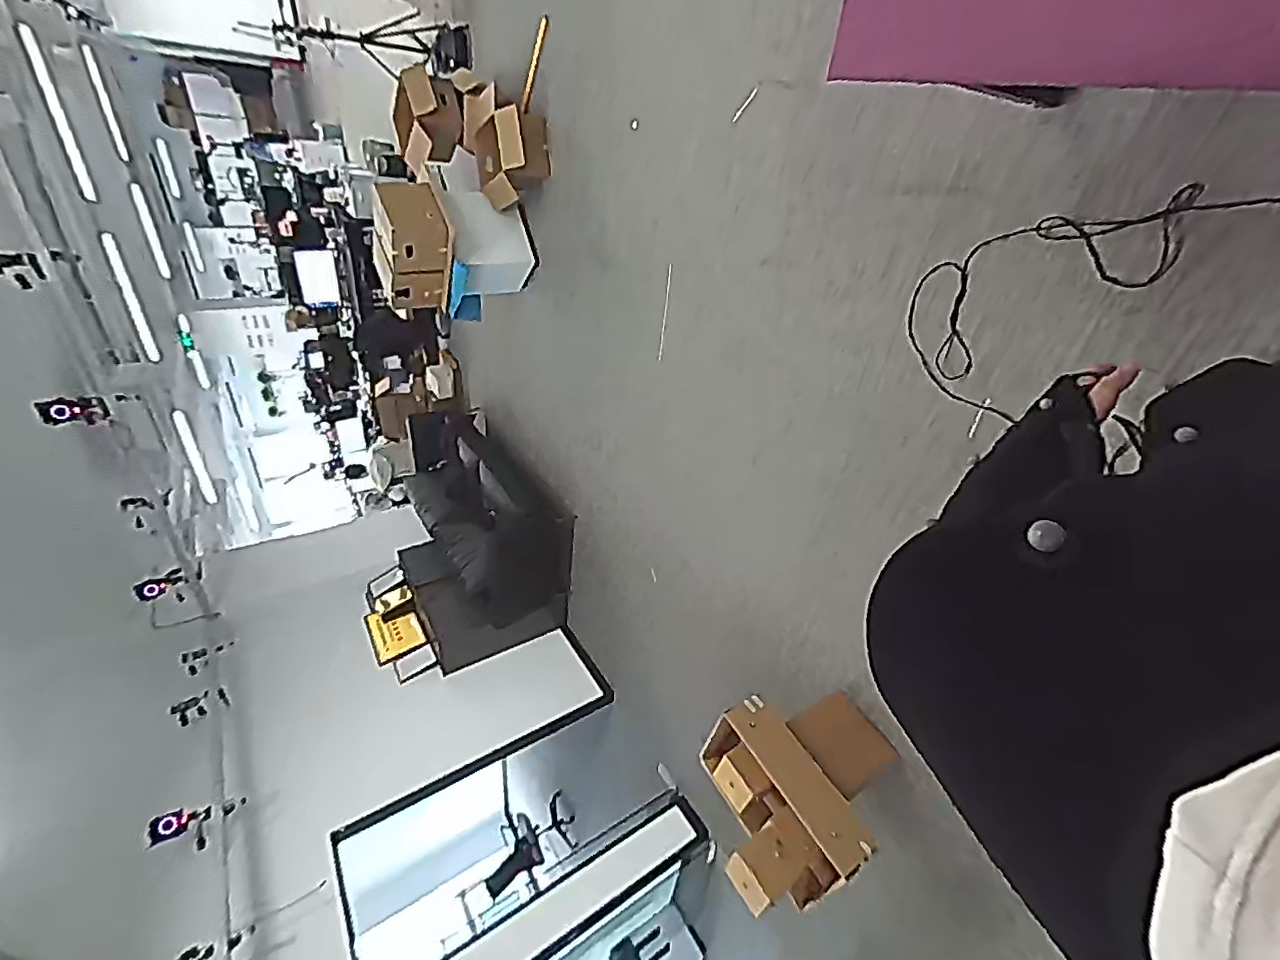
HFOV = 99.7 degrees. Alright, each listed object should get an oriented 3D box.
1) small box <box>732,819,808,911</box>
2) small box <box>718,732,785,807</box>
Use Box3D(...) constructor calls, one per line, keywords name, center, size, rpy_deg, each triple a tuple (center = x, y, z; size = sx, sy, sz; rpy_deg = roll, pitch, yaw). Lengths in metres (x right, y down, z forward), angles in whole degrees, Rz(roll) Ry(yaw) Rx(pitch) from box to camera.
Box3D(name="small box", center=(0.448, 1.316, 1.853), size=(0.168, 0.176, 0.179), rpy_deg=(43, 138, 38))
Box3D(name="small box", center=(0.434, 1.119, 2.095), size=(0.168, 0.176, 0.179), rpy_deg=(46, 138, 36))
